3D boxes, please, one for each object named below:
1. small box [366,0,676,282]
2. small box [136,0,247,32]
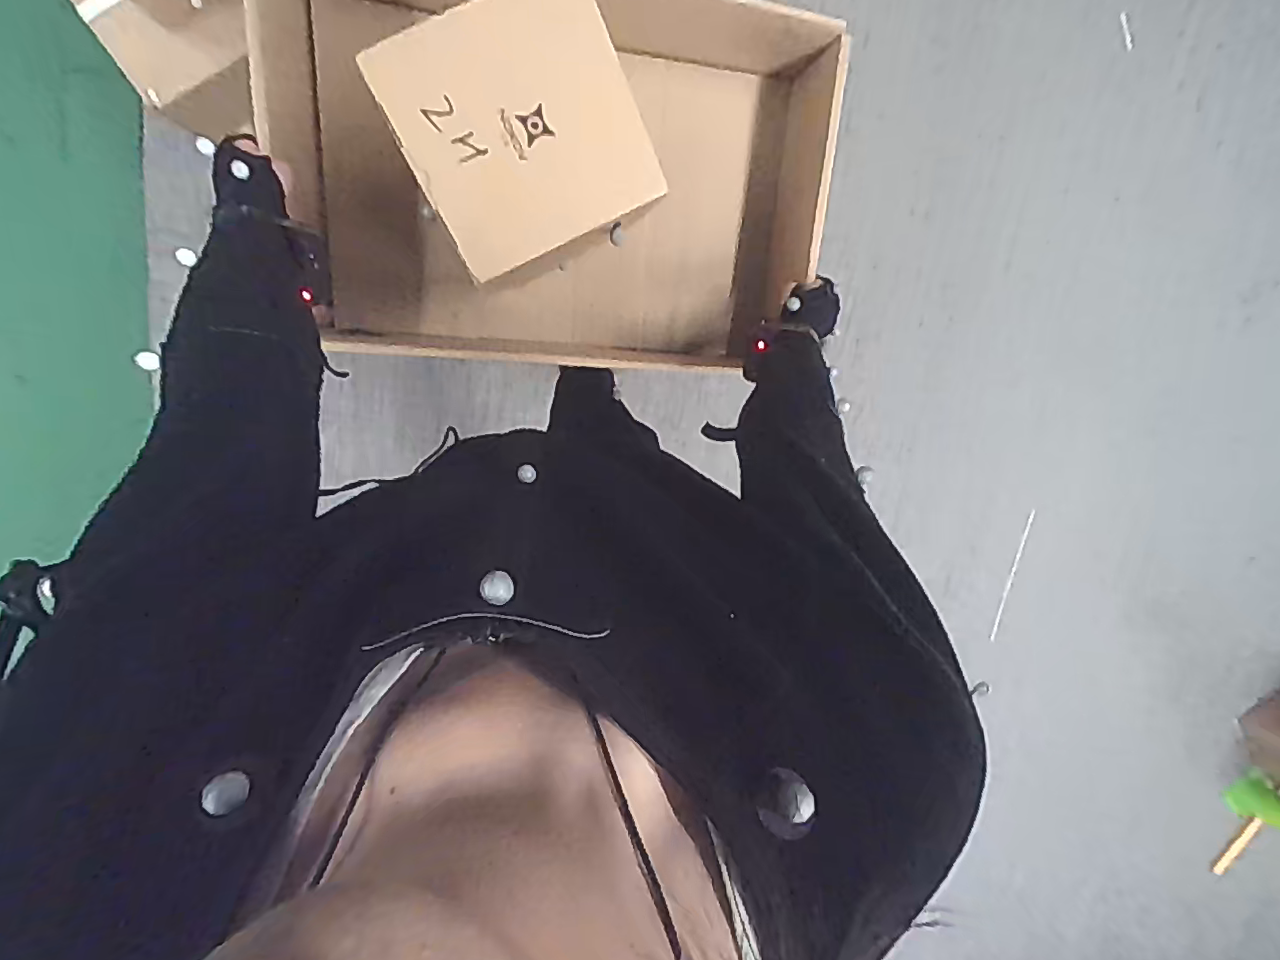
[{"bbox_3d":[-0.095,-0.290,0.472,0.179,0.176,0.168,-27,109,-3],"label":"small box"},{"bbox_3d":[-0.729,-0.826,0.794,0.168,0.176,0.179,-28,107,-1],"label":"small box"}]
